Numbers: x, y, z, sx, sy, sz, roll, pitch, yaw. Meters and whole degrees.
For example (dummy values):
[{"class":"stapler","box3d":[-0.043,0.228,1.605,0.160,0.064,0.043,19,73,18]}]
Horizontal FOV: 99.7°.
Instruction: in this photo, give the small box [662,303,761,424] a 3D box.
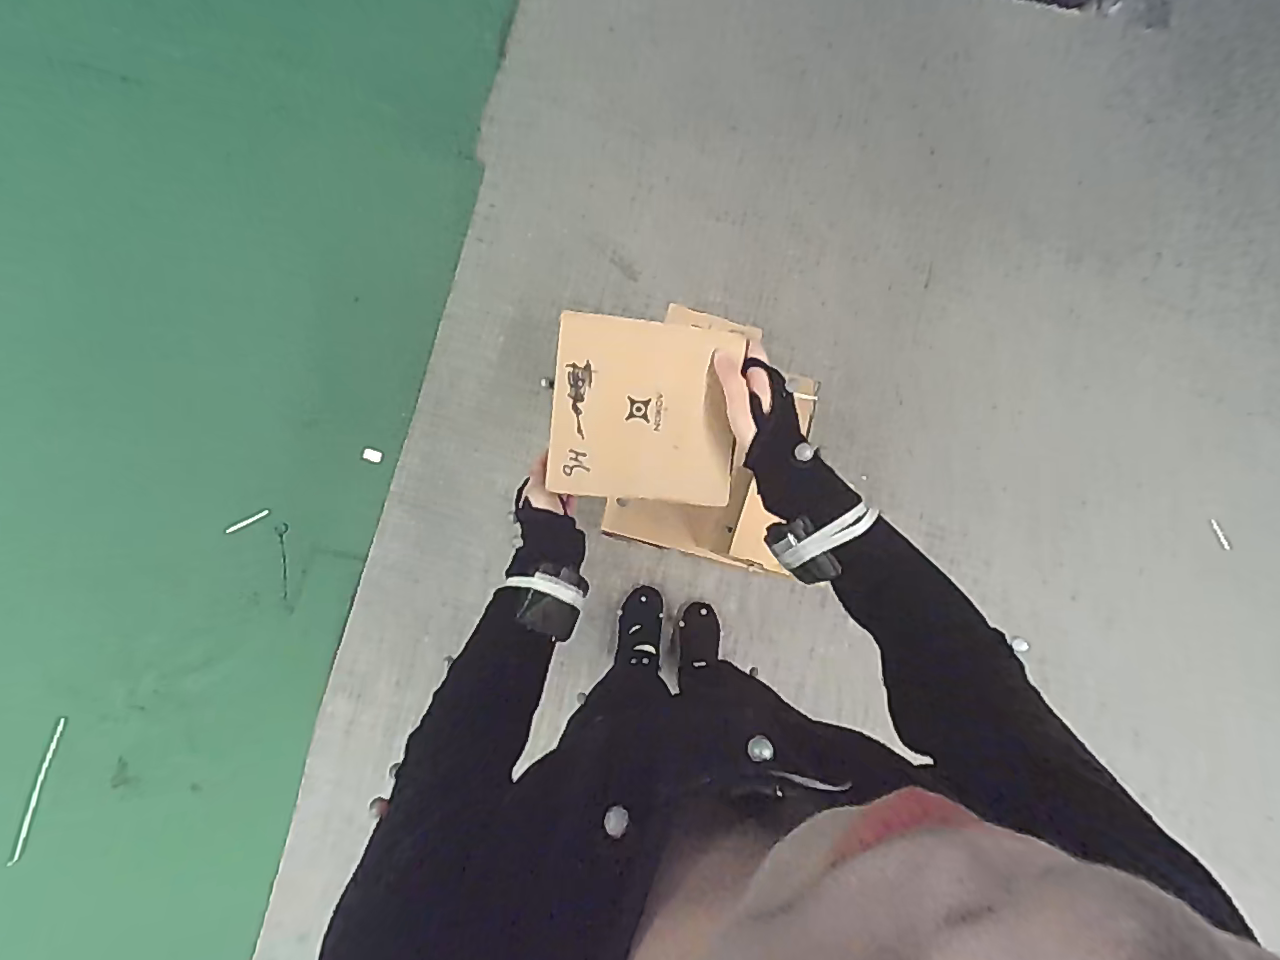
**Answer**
[{"class":"small box","box3d":[0.100,-0.182,0.976,0.168,0.176,0.179,17,81,1]}]

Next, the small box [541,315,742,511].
[{"class":"small box","box3d":[-0.009,-0.062,0.575,0.179,0.176,0.168,5,91,-9]}]

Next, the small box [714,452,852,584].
[{"class":"small box","box3d":[0.240,0.068,0.950,0.168,0.176,0.179,18,83,-1]}]
